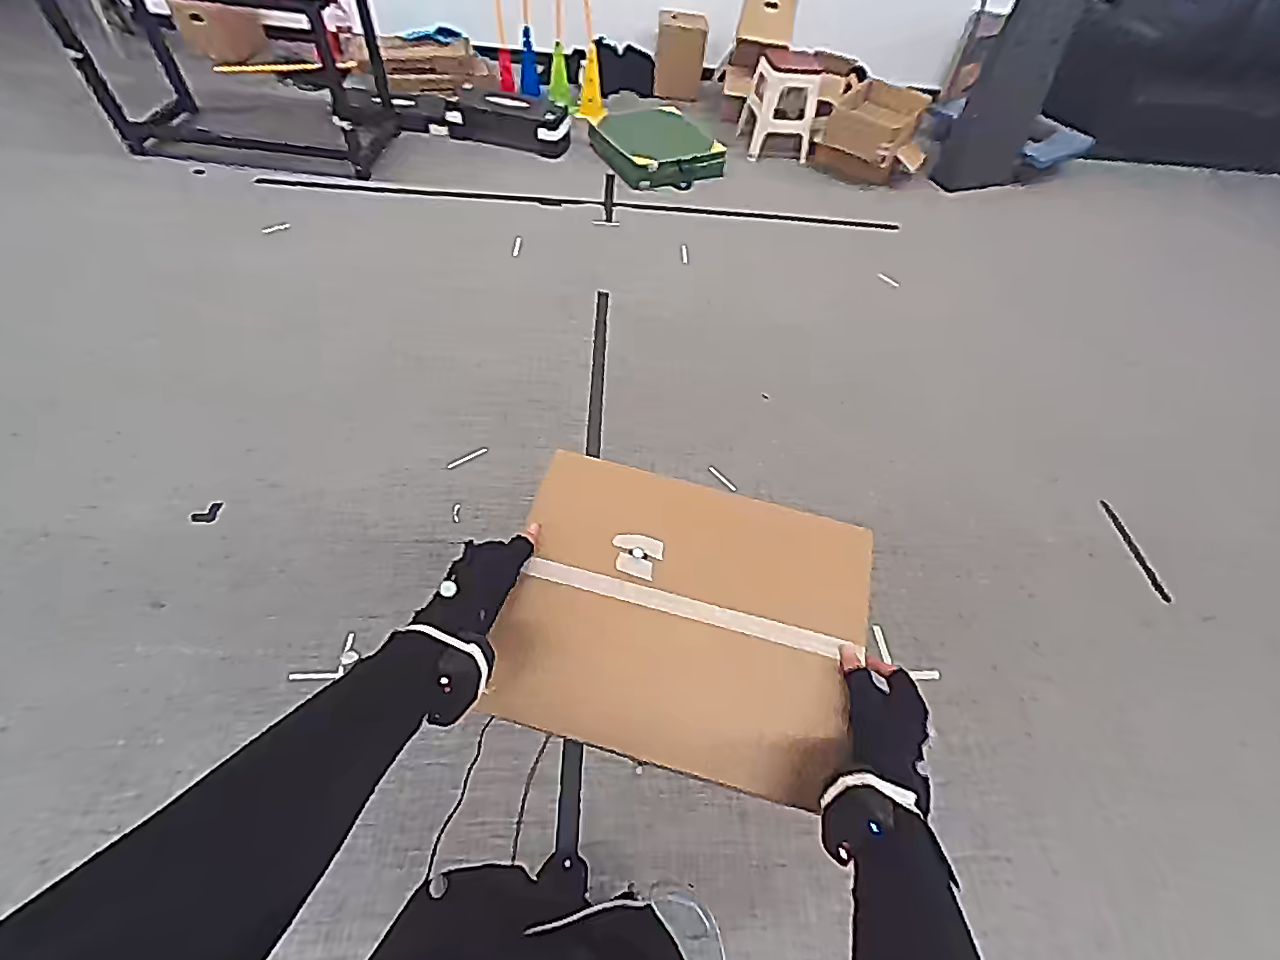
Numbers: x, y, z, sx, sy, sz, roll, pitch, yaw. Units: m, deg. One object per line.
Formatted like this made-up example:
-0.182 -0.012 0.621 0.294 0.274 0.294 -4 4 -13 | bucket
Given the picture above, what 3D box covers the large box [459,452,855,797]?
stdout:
0.034 0.204 0.746 0.408 0.320 0.320 14 63 5 | large box
